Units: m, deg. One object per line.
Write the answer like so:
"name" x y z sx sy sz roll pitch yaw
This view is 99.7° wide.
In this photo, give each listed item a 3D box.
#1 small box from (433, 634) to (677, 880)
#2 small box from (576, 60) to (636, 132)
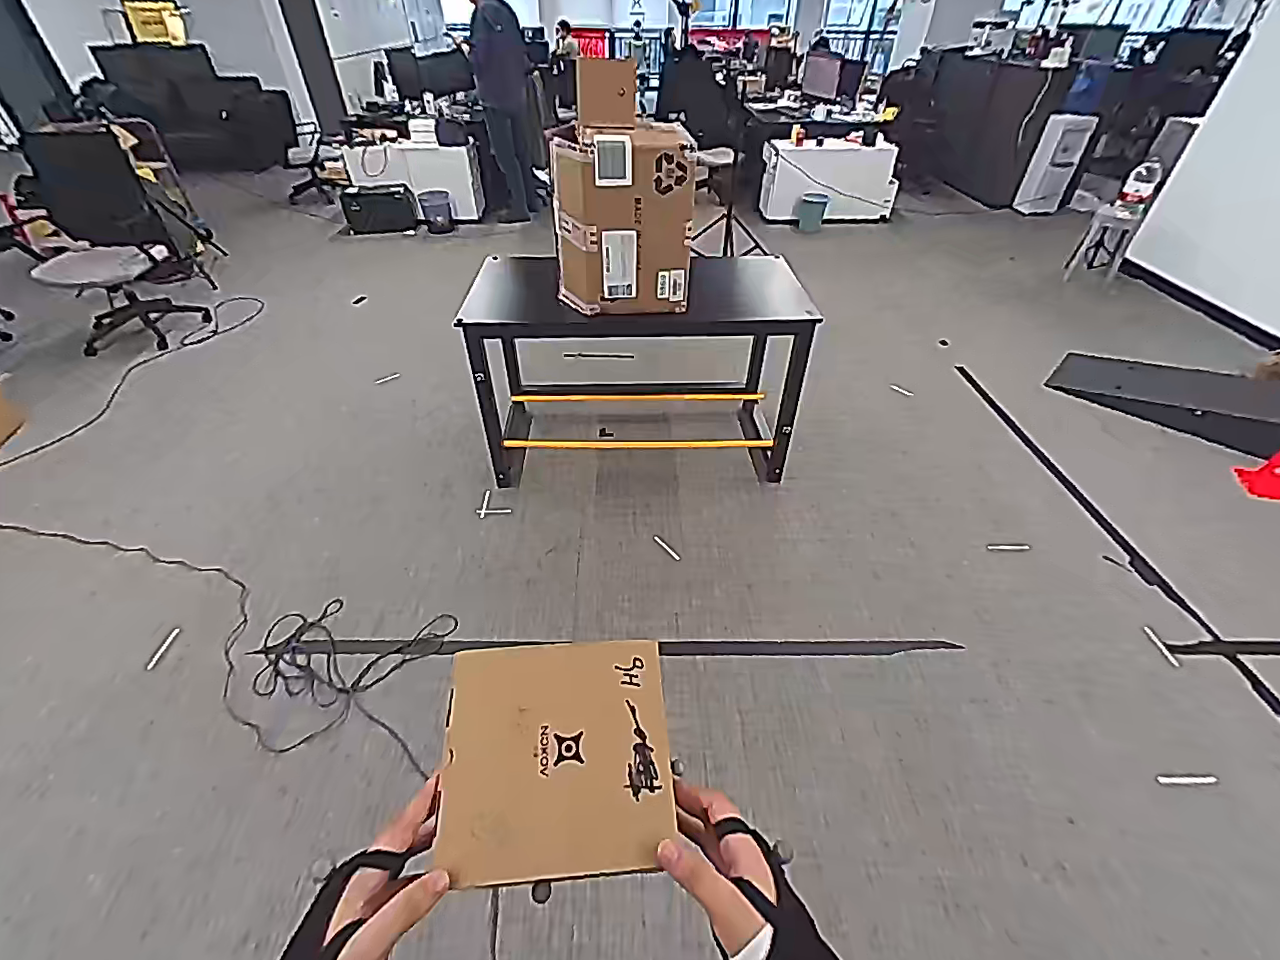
"small box" -0.067 0.254 0.492 0.179 0.176 0.168 -2 53 -5
"small box" -0.106 -1.177 1.656 0.179 0.176 0.168 -2 38 -5
